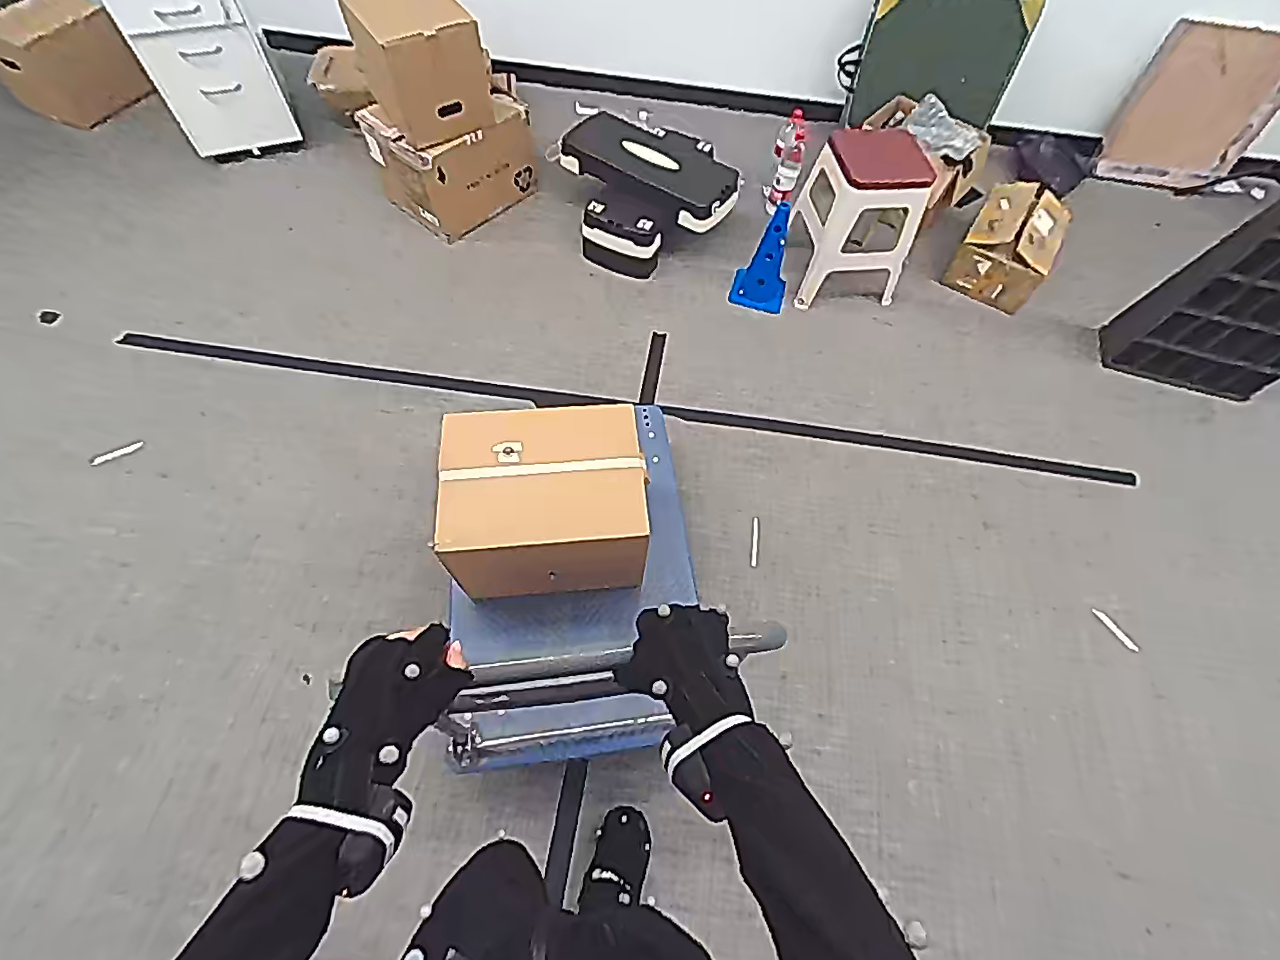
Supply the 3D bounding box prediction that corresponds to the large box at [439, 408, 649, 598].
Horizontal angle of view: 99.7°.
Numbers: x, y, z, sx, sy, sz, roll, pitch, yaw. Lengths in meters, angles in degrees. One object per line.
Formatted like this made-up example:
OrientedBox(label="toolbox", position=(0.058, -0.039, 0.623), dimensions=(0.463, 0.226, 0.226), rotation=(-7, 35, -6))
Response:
OrientedBox(label="large box", position=(-0.201, 0.062, 1.226), dimensions=(0.408, 0.320, 0.320), rotation=(-4, 61, -5))
